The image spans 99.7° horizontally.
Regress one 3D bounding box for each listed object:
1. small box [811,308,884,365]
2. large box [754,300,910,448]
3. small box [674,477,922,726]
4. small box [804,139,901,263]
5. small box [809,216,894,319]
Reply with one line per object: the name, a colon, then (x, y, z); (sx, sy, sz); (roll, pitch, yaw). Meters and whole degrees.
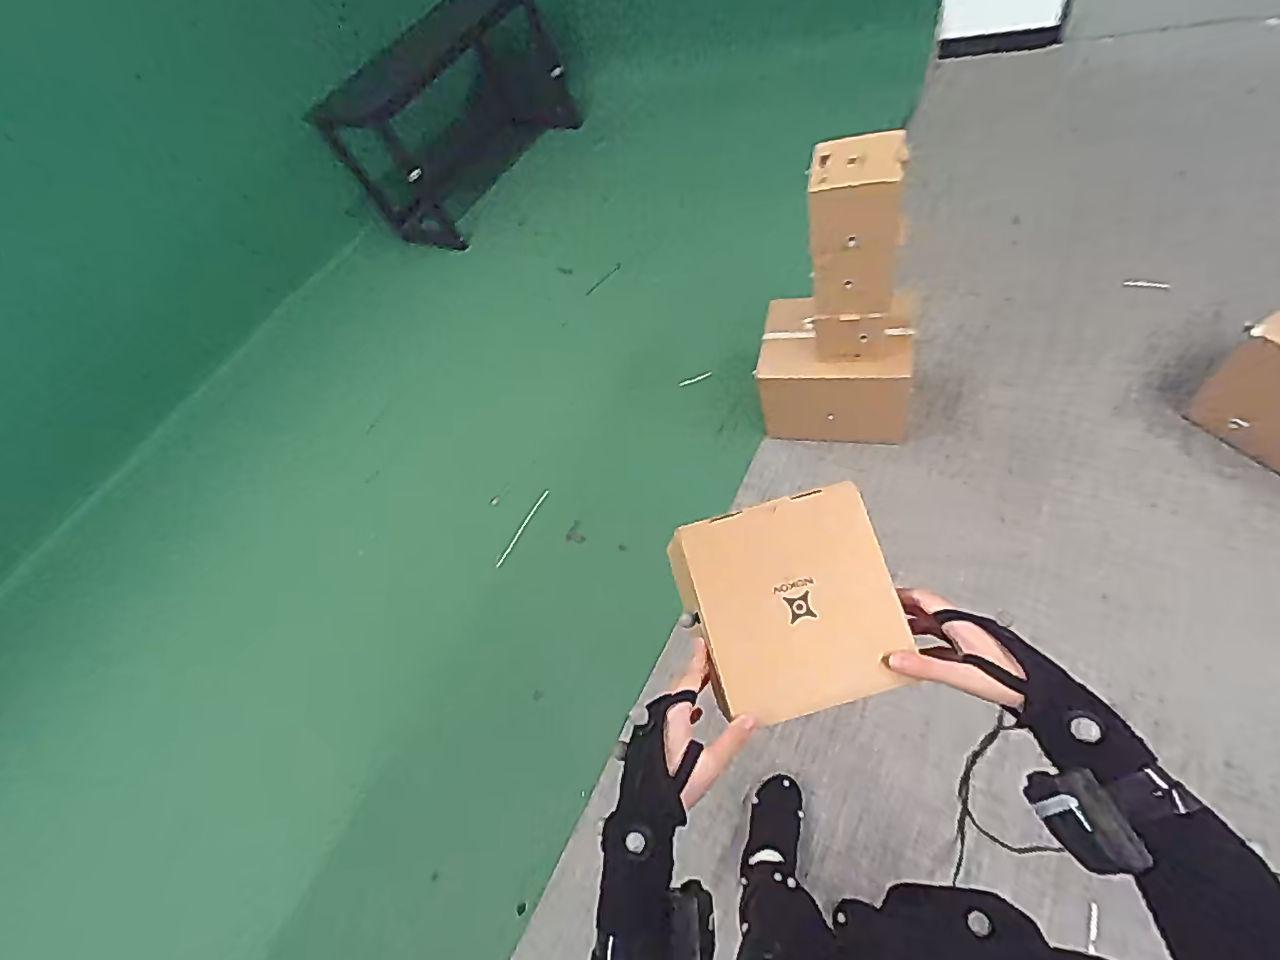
small box: (0.552, -0.420, 1.428); (0.168, 0.176, 0.179); (4, 61, 23)
large box: (0.590, -0.307, 1.646); (0.408, 0.320, 0.320); (3, 59, 24)
small box: (0.134, 0.116, 0.532); (0.168, 0.176, 0.179); (-15, 76, -2)
small box: (0.455, -0.594, 1.167); (0.179, 0.176, 0.168); (5, 61, 22)
small box: (0.506, -0.507, 1.297); (0.179, 0.176, 0.168); (3, 60, 23)
